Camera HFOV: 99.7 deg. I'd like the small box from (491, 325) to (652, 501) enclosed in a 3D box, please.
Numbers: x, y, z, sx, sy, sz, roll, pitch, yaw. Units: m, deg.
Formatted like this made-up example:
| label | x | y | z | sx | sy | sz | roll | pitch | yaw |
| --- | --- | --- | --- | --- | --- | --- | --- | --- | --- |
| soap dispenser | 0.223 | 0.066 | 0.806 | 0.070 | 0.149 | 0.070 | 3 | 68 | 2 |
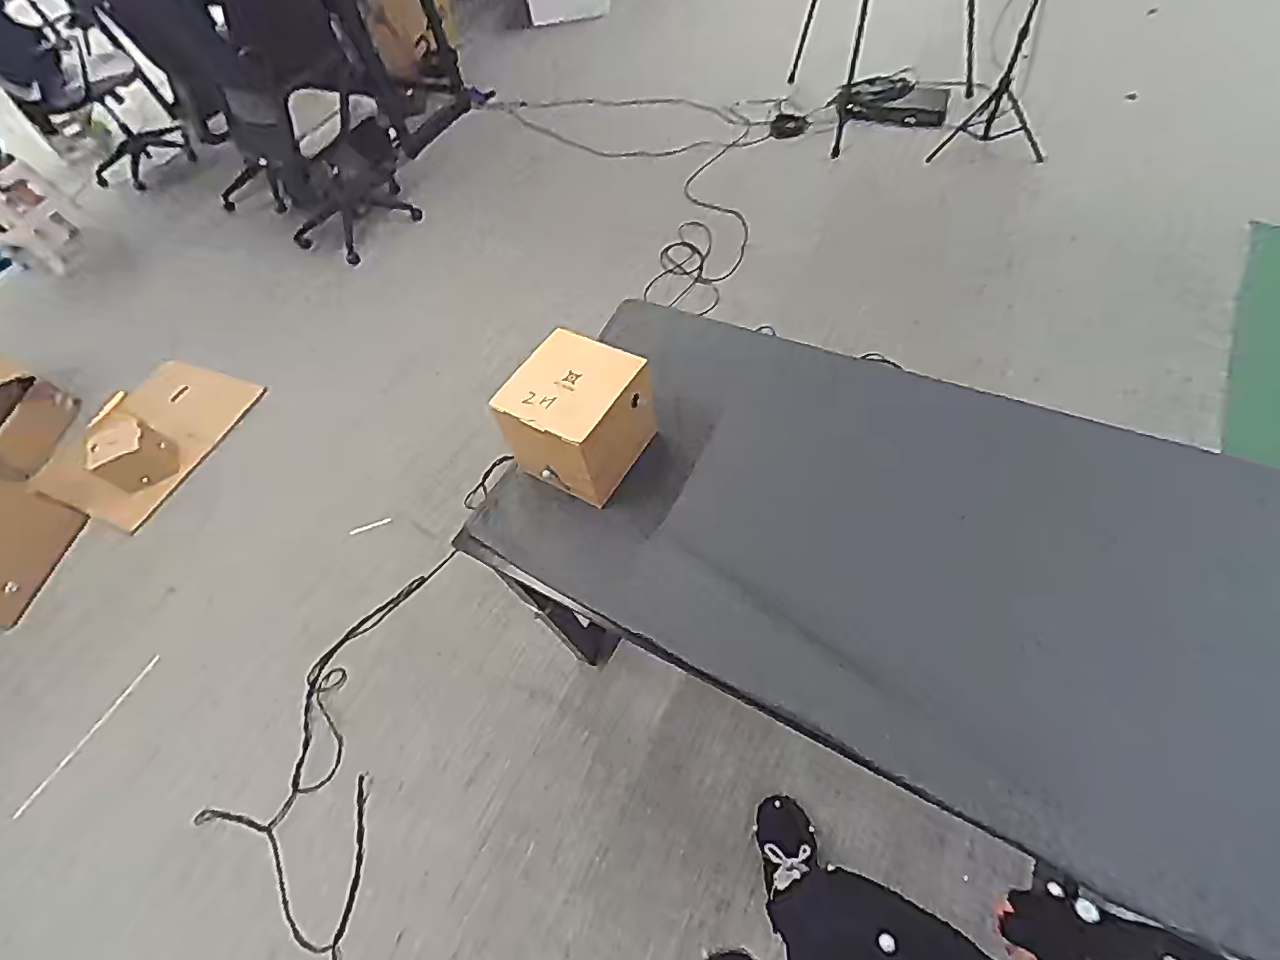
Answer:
| label | x | y | z | sx | sy | sz | roll | pitch | yaw |
| --- | --- | --- | --- | --- | --- | --- | --- | --- | --- |
| small box | -0.092 | -0.101 | 0.837 | 0.168 | 0.176 | 0.179 | 25 | 64 | 22 |
